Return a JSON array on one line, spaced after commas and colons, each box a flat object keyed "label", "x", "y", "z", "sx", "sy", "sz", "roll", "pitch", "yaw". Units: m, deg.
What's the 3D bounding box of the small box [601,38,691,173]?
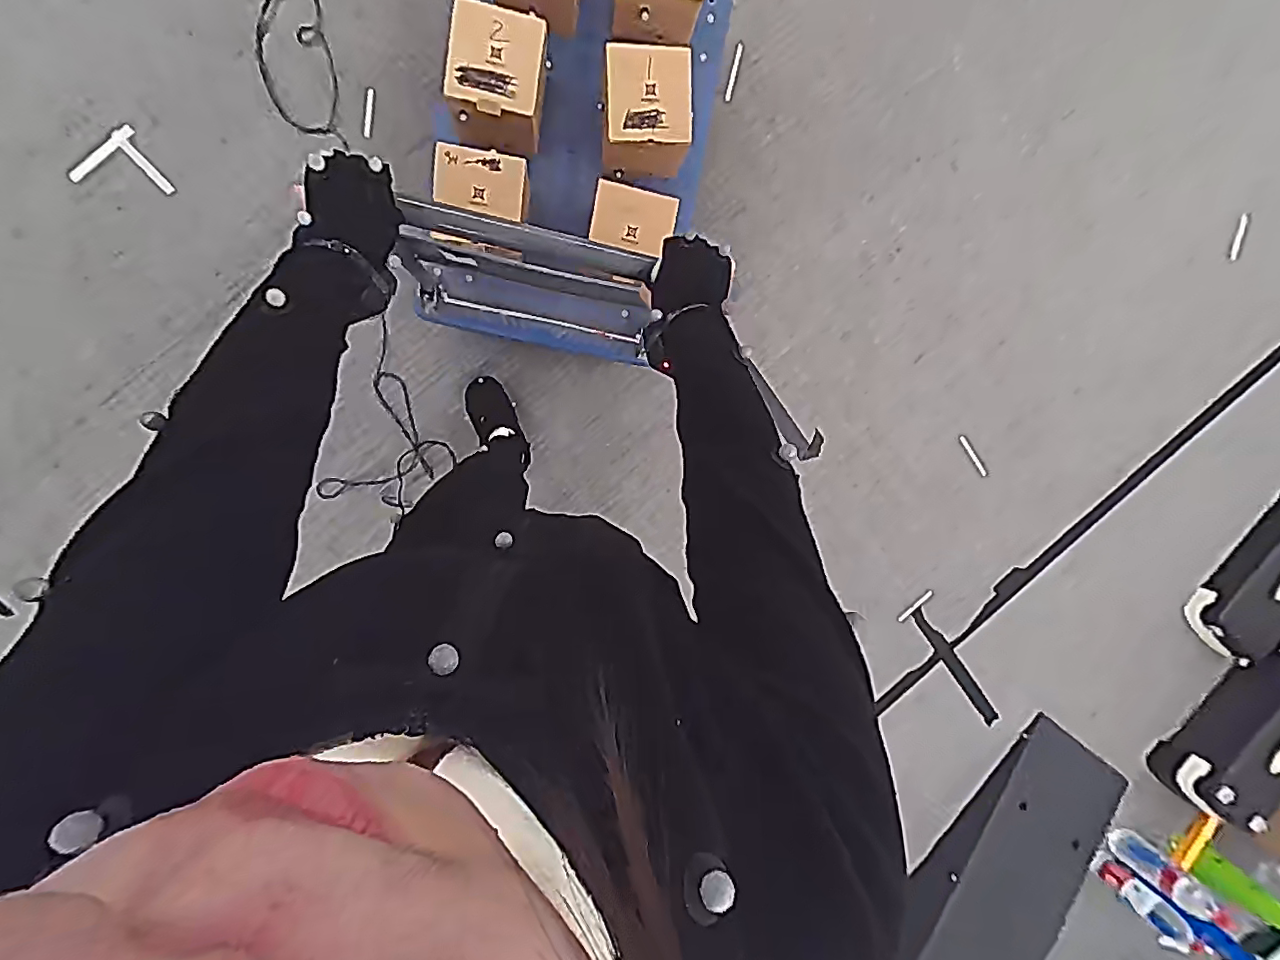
[{"label": "small box", "x": 0.007, "y": -0.762, "z": 1.121, "sx": 0.168, "sy": 0.176, "sz": 0.179, "roll": -2, "pitch": 98, "yaw": -8}]

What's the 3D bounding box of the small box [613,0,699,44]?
[{"label": "small box", "x": 0.041, "y": -1.031, "z": 1.087, "sx": 0.168, "sy": 0.176, "sz": 0.179, "roll": 7, "pitch": 97, "yaw": -9}]

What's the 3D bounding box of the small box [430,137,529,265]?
[{"label": "small box", "x": -0.319, "y": -0.553, "z": 1.101, "sx": 0.168, "sy": 0.176, "sz": 0.179, "roll": 6, "pitch": 98, "yaw": -11}]

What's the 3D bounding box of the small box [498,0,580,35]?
[{"label": "small box", "x": -0.191, "y": -1.033, "z": 1.049, "sx": 0.168, "sy": 0.176, "sz": 0.179, "roll": 11, "pitch": 97, "yaw": -10}]

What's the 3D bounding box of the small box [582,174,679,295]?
[{"label": "small box", "x": -0.028, "y": -0.509, "z": 1.154, "sx": 0.168, "sy": 0.176, "sz": 0.179, "roll": 11, "pitch": 96, "yaw": -11}]
